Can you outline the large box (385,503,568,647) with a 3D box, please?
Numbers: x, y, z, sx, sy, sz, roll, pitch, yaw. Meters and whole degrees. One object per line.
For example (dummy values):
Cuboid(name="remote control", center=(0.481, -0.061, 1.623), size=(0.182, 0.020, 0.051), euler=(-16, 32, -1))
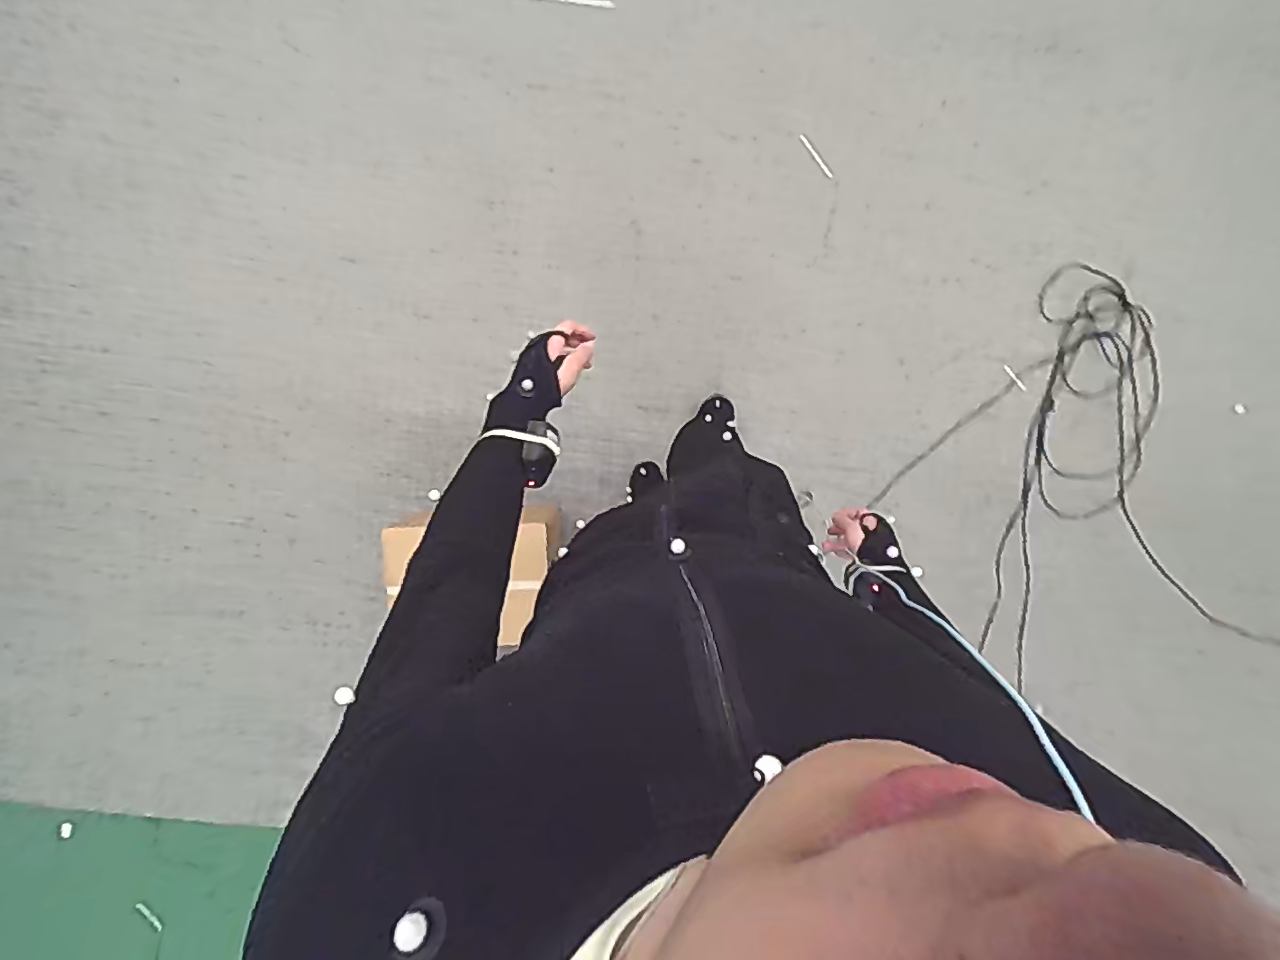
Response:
Cuboid(name="large box", center=(-0.423, 0.244, 1.488), size=(0.408, 0.320, 0.320), euler=(-2, 95, -1))
